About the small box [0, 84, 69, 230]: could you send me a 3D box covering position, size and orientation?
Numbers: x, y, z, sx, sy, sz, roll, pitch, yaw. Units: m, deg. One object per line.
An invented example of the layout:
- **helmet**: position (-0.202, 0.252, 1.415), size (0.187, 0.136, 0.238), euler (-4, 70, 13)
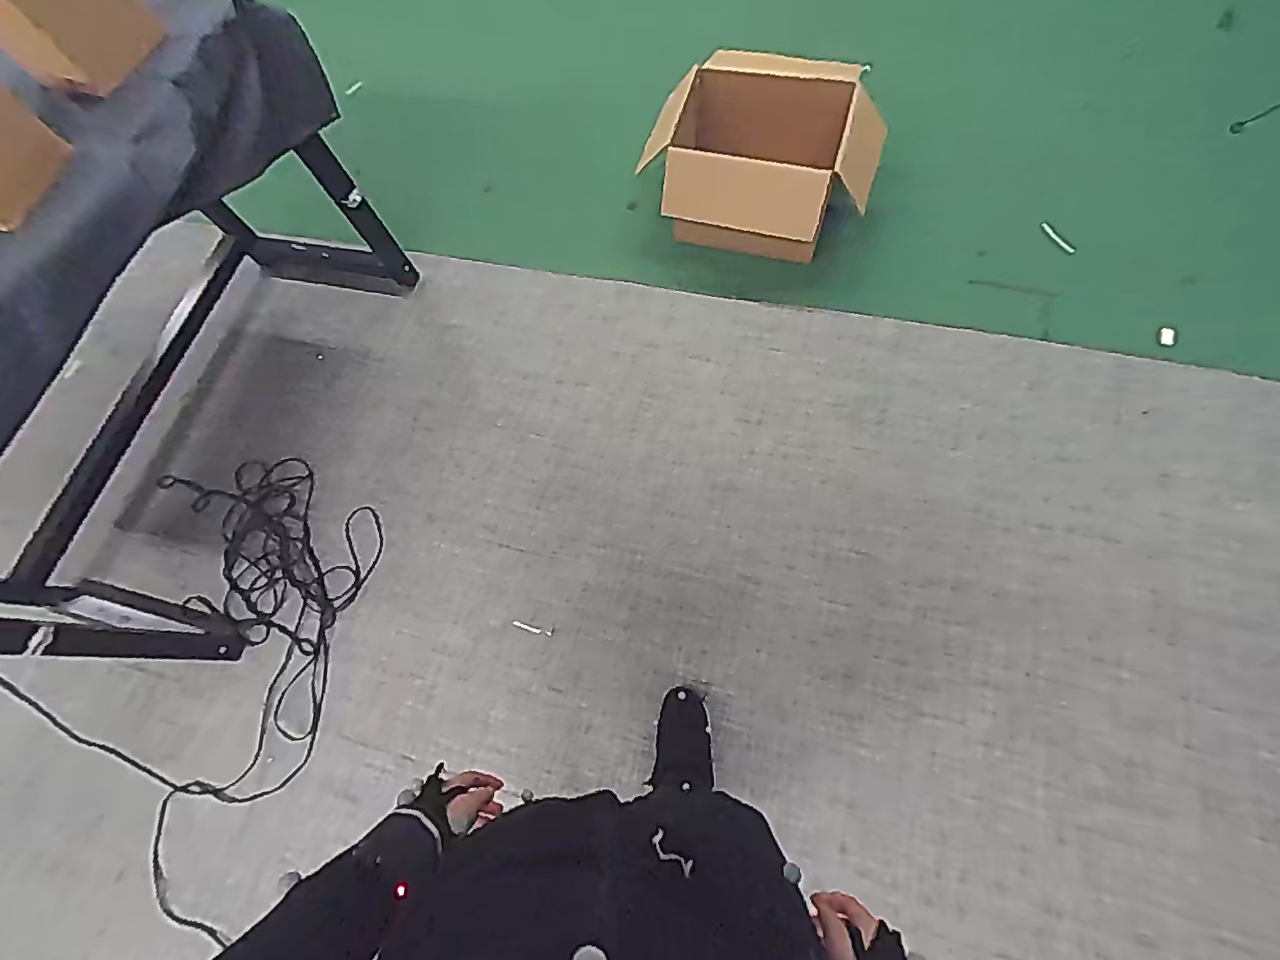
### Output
- **small box**: position (-1.025, -0.506, 0.799), size (0.168, 0.176, 0.179), euler (9, 72, 10)
